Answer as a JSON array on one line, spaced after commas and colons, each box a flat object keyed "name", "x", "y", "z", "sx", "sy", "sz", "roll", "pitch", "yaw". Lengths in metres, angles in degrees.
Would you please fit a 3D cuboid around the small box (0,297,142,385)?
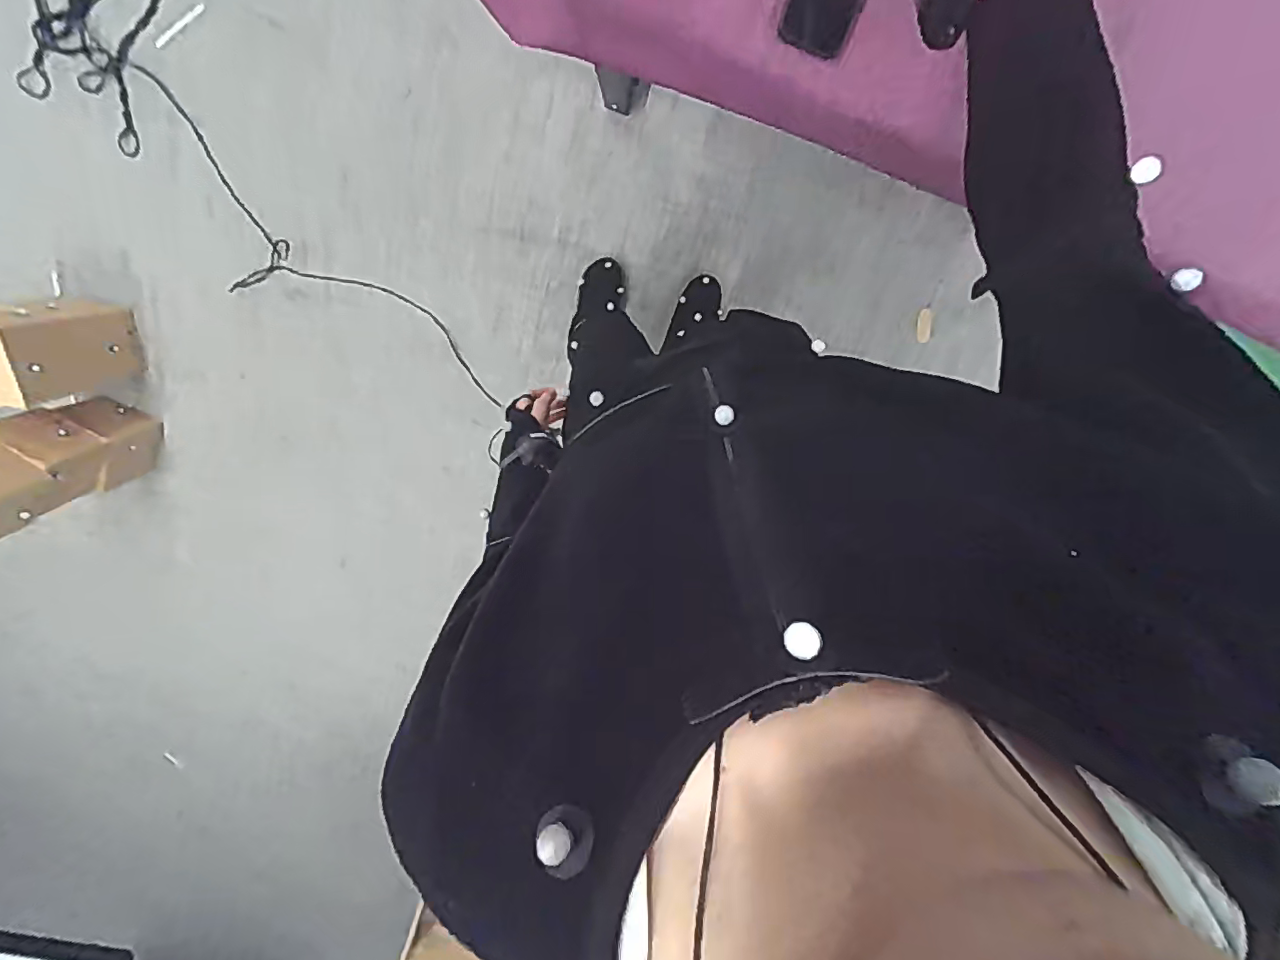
[{"name": "small box", "x": -1.398, "y": -0.351, "z": 1.346, "sx": 0.179, "sy": 0.176, "sz": 0.168, "roll": 10, "pitch": 114, "yaw": -4}]

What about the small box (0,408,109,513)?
[{"name": "small box", "x": -1.455, "y": -0.045, "z": 1.309, "sx": 0.168, "sy": 0.176, "sz": 0.179, "roll": 33, "pitch": 109, "yaw": -13}]

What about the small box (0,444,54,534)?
[{"name": "small box", "x": -1.449, "y": 0.025, "z": 1.160, "sx": 0.179, "sy": 0.176, "sz": 0.168, "roll": 38, "pitch": 108, "yaw": -15}]

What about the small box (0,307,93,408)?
[{"name": "small box", "x": -1.388, "y": -0.275, "z": 1.202, "sx": 0.168, "sy": 0.176, "sz": 0.179, "roll": 6, "pitch": 114, "yaw": -3}]
